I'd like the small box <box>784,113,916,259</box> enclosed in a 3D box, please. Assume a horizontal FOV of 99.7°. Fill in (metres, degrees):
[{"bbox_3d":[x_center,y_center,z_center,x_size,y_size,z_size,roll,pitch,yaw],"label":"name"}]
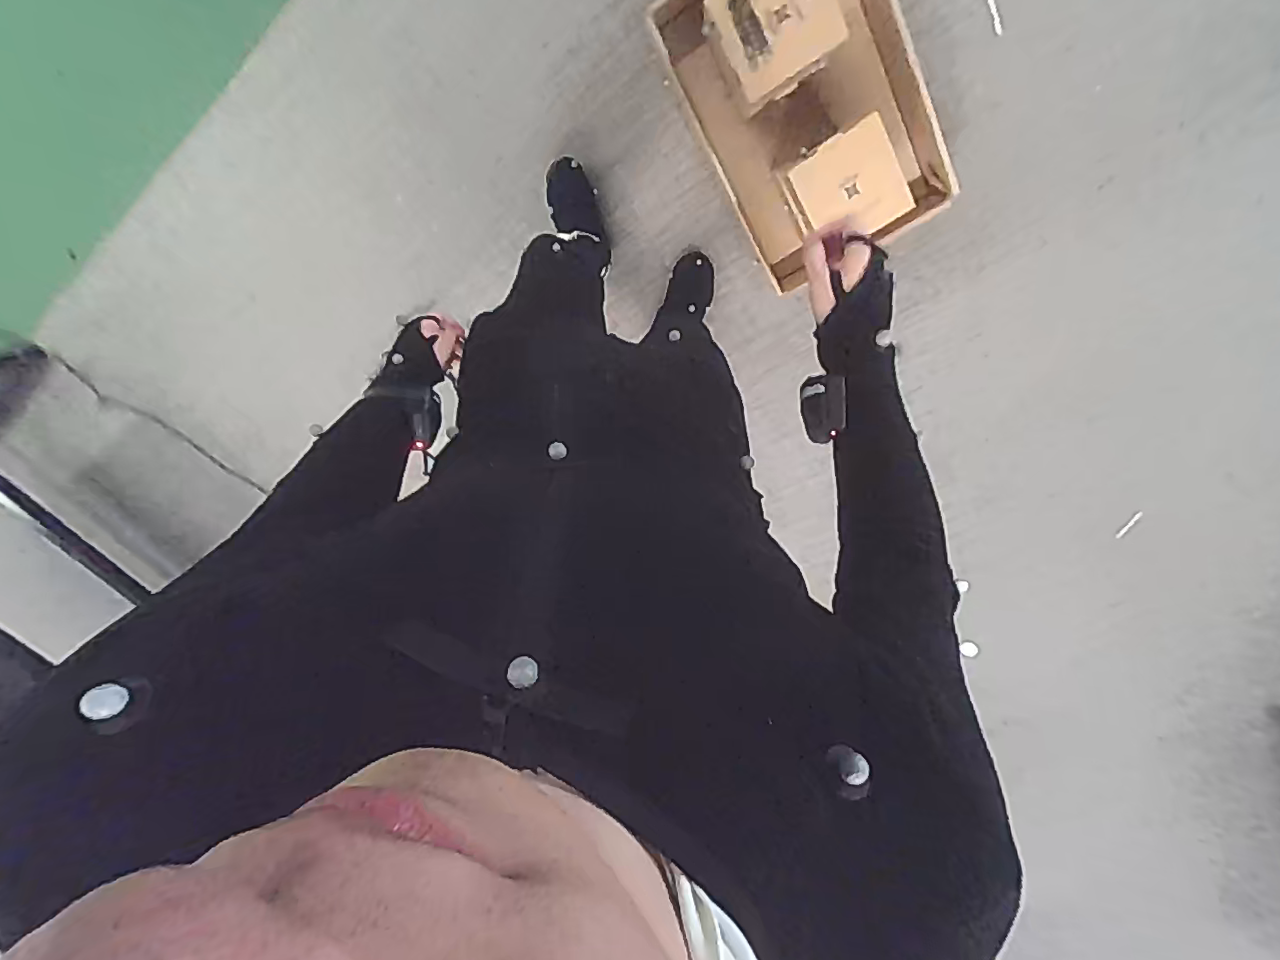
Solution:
[{"bbox_3d":[0.387,-0.548,1.022,0.168,0.176,0.179,-27,112,22],"label":"small box"}]
